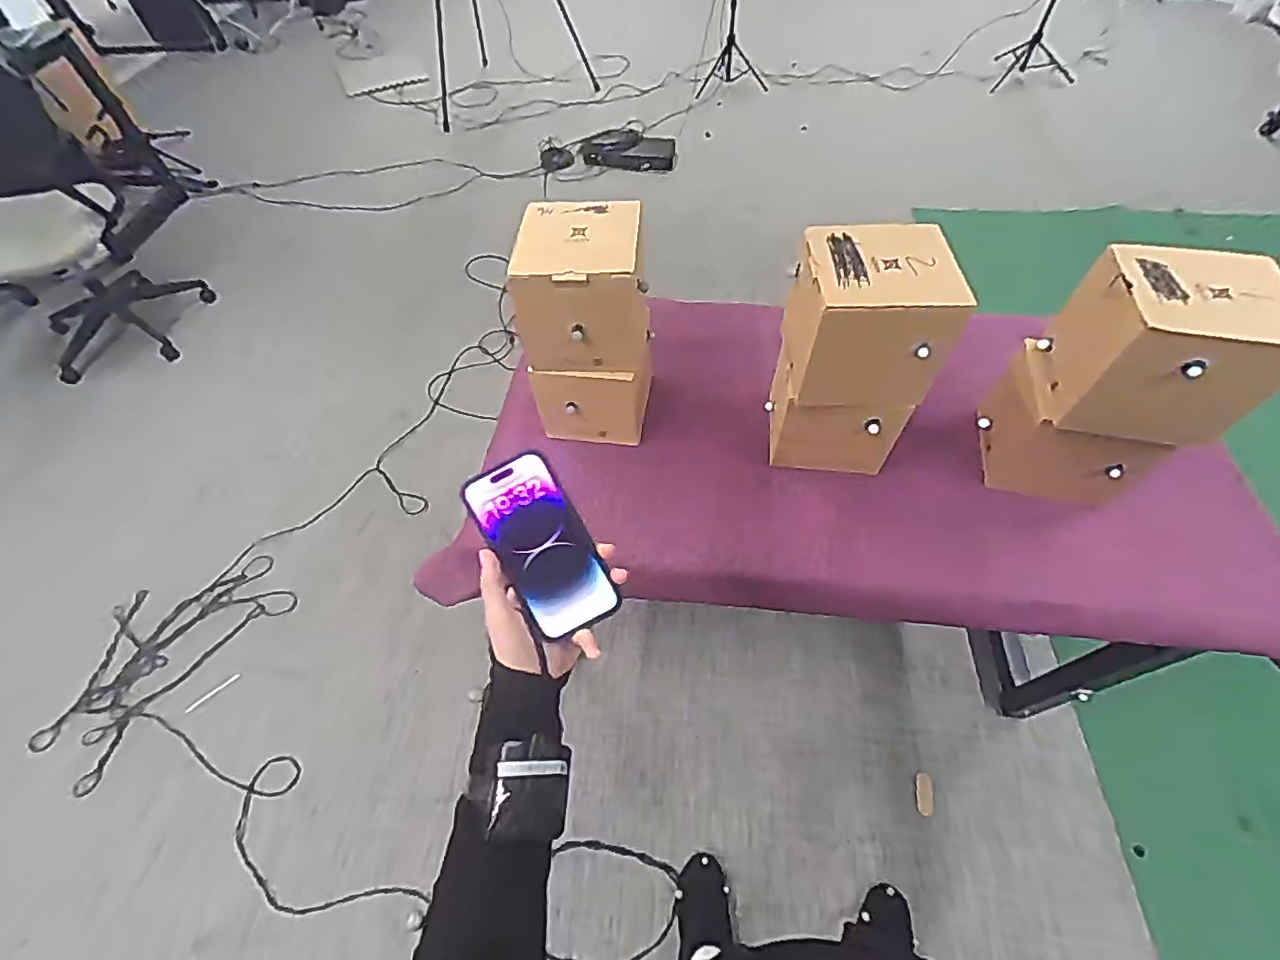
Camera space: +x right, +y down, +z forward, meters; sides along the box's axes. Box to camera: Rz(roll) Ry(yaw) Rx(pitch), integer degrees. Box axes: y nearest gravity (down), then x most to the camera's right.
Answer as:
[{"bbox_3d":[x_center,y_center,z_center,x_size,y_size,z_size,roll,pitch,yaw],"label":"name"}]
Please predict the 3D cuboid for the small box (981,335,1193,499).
[{"bbox_3d":[0.648,-0.090,0.810,0.179,0.176,0.168,10,56,11],"label":"small box"}]

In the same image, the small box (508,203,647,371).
[{"bbox_3d":[-0.078,-0.277,0.793,0.168,0.176,0.179,1,56,4],"label":"small box"}]

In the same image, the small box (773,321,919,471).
[{"bbox_3d":[0.314,-0.129,0.860,0.179,0.176,0.168,4,55,8],"label":"small box"}]

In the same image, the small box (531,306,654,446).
[{"bbox_3d":[-0.069,-0.176,0.922,0.168,0.176,0.179,5,56,8],"label":"small box"}]

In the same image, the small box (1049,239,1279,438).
[{"bbox_3d":[0.645,-0.170,0.666,0.179,0.176,0.168,10,56,10],"label":"small box"}]
